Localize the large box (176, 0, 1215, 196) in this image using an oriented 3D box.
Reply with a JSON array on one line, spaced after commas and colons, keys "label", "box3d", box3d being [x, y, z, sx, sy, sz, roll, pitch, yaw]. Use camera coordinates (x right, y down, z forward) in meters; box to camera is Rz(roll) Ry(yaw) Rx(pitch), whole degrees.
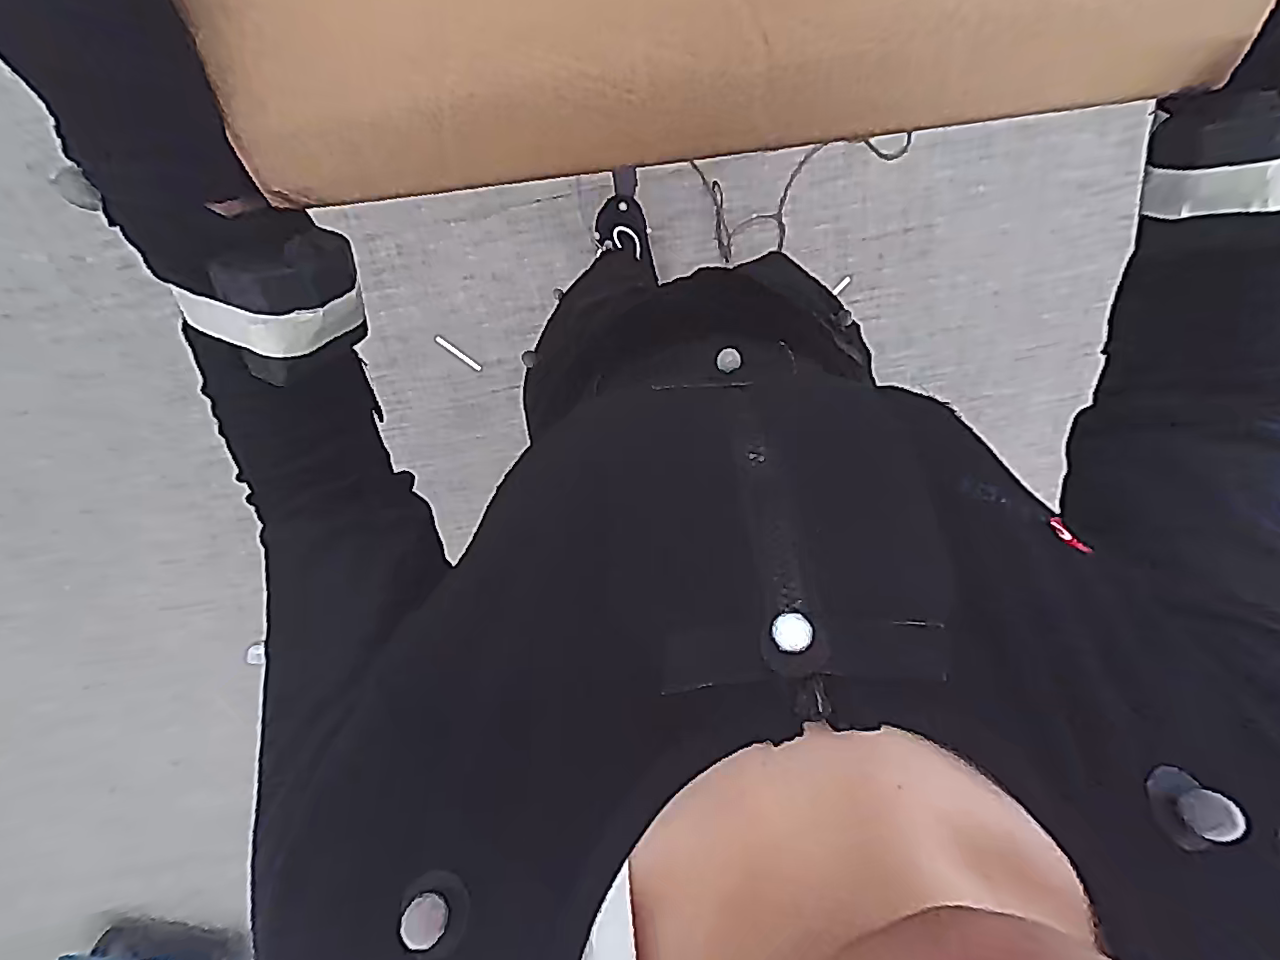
[{"label": "large box", "box3d": [0.013, -0.363, 0.223, 0.408, 0.320, 0.320, -7, 138, 1]}]
